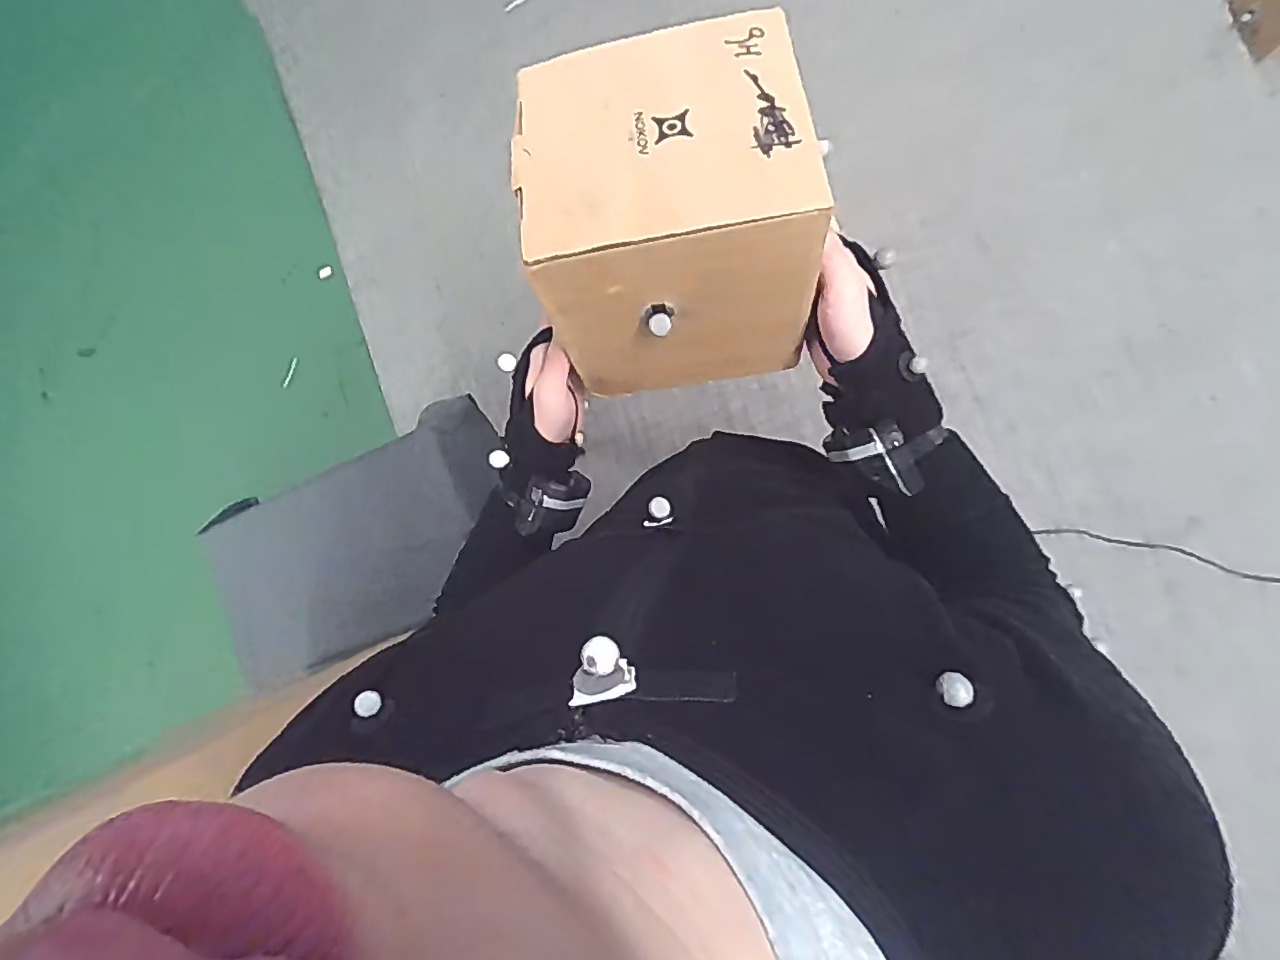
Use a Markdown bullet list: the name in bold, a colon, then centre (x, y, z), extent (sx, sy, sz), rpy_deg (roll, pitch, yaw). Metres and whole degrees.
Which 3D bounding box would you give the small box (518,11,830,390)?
- **small box**: centre (0.024, -0.181, 0.396), extent (0.179, 0.176, 0.168), rpy_deg (-7, 70, 7)
